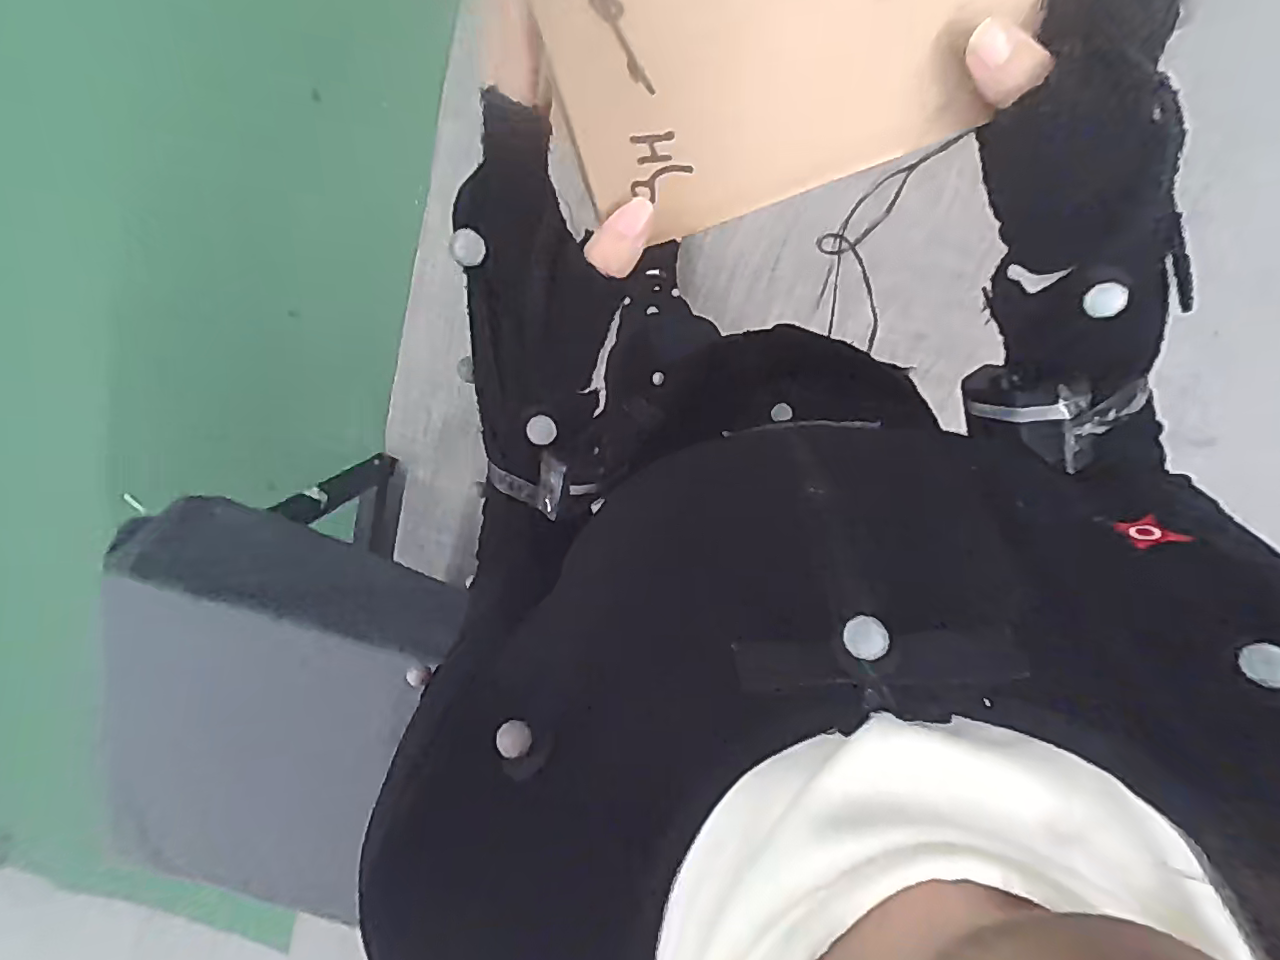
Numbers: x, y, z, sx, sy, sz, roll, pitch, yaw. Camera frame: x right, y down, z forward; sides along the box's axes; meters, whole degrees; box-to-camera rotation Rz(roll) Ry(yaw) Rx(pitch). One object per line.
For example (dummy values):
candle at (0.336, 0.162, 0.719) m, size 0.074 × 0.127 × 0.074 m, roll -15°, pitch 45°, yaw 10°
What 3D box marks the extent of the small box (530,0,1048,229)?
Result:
small box at (0.037, -0.237, 0.216) m, size 0.179 × 0.176 × 0.168 m, roll -18°, pitch 135°, yaw 3°
